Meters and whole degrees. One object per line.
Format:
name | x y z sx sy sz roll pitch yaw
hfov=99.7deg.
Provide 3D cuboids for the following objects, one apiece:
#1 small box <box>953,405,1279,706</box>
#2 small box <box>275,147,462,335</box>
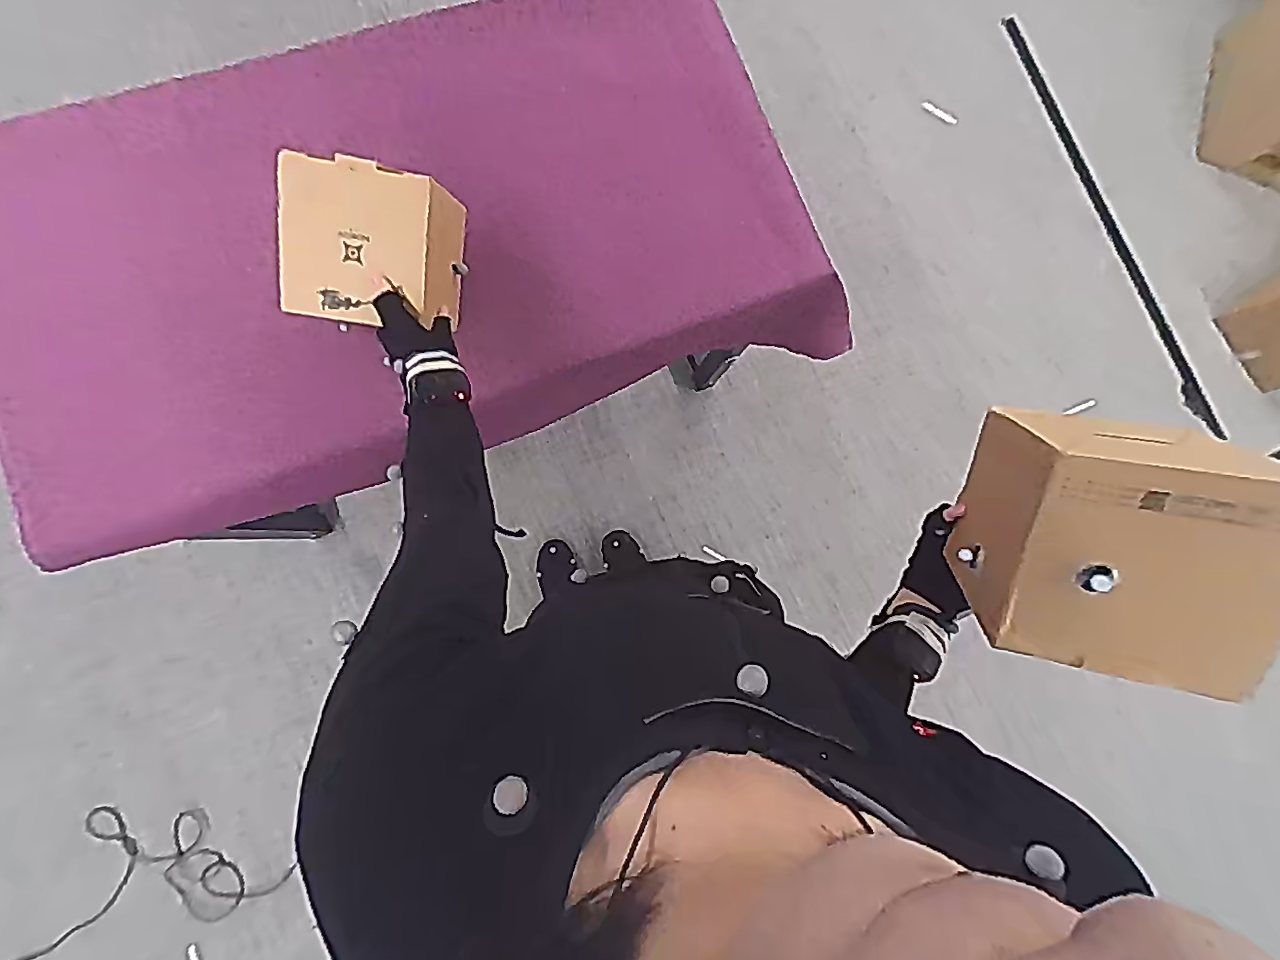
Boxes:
small box | 0.385 0.041 0.440 0.168 0.179 0.176 11 112 14
small box | -0.333 -0.288 0.692 0.168 0.176 0.179 8 105 -6
